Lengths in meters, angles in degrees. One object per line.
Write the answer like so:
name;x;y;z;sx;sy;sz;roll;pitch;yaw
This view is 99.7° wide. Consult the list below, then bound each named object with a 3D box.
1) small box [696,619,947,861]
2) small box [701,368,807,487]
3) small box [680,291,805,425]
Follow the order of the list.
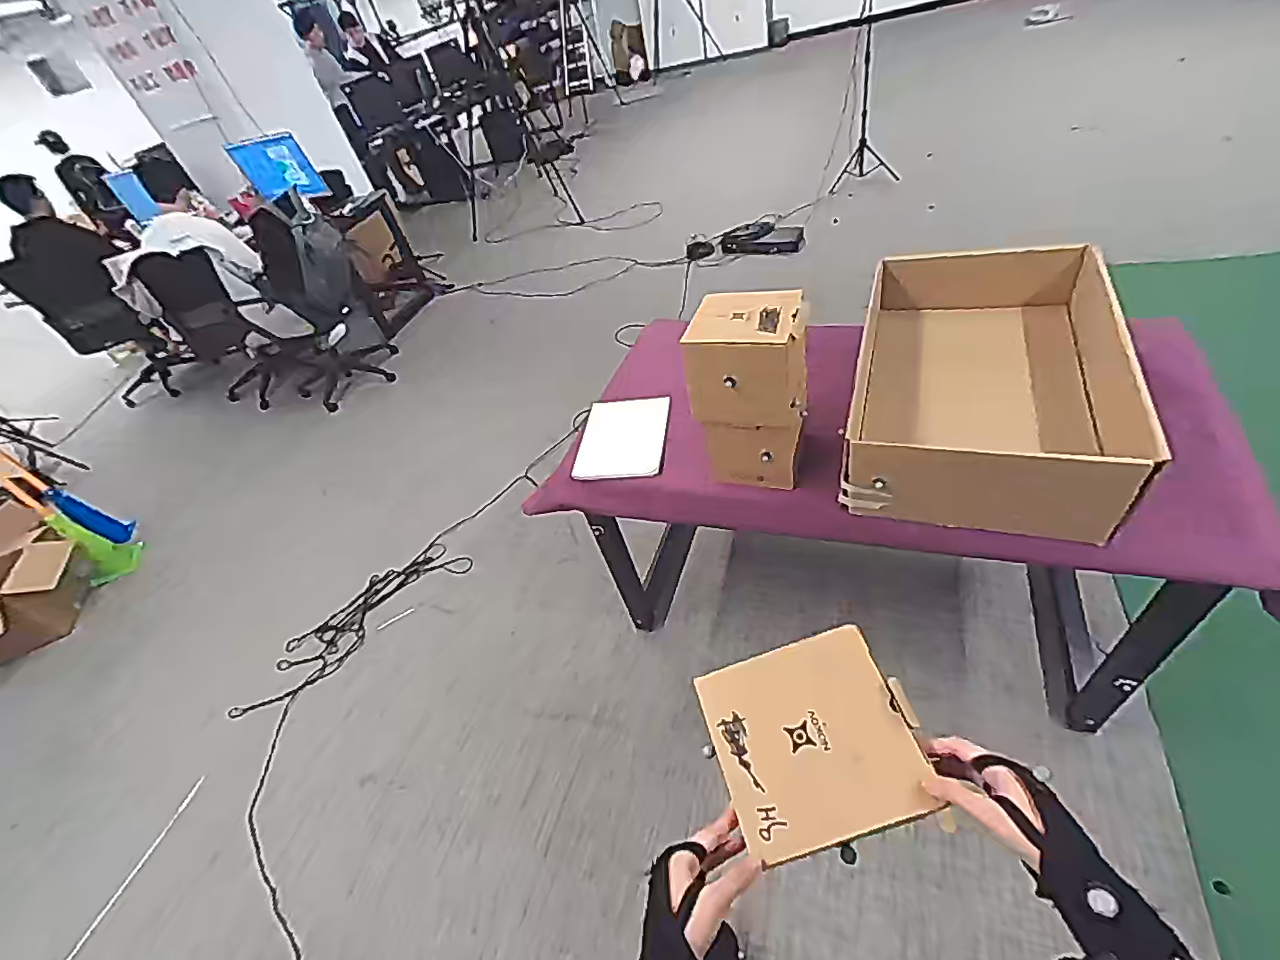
small box;0.172;0.272;0.559;0.179;0.176;0.168;-20;51;2
small box;0.233;-0.105;1.066;0.168;0.176;0.179;7;47;23
small box;0.188;-0.213;0.950;0.179;0.176;0.168;7;48;23
